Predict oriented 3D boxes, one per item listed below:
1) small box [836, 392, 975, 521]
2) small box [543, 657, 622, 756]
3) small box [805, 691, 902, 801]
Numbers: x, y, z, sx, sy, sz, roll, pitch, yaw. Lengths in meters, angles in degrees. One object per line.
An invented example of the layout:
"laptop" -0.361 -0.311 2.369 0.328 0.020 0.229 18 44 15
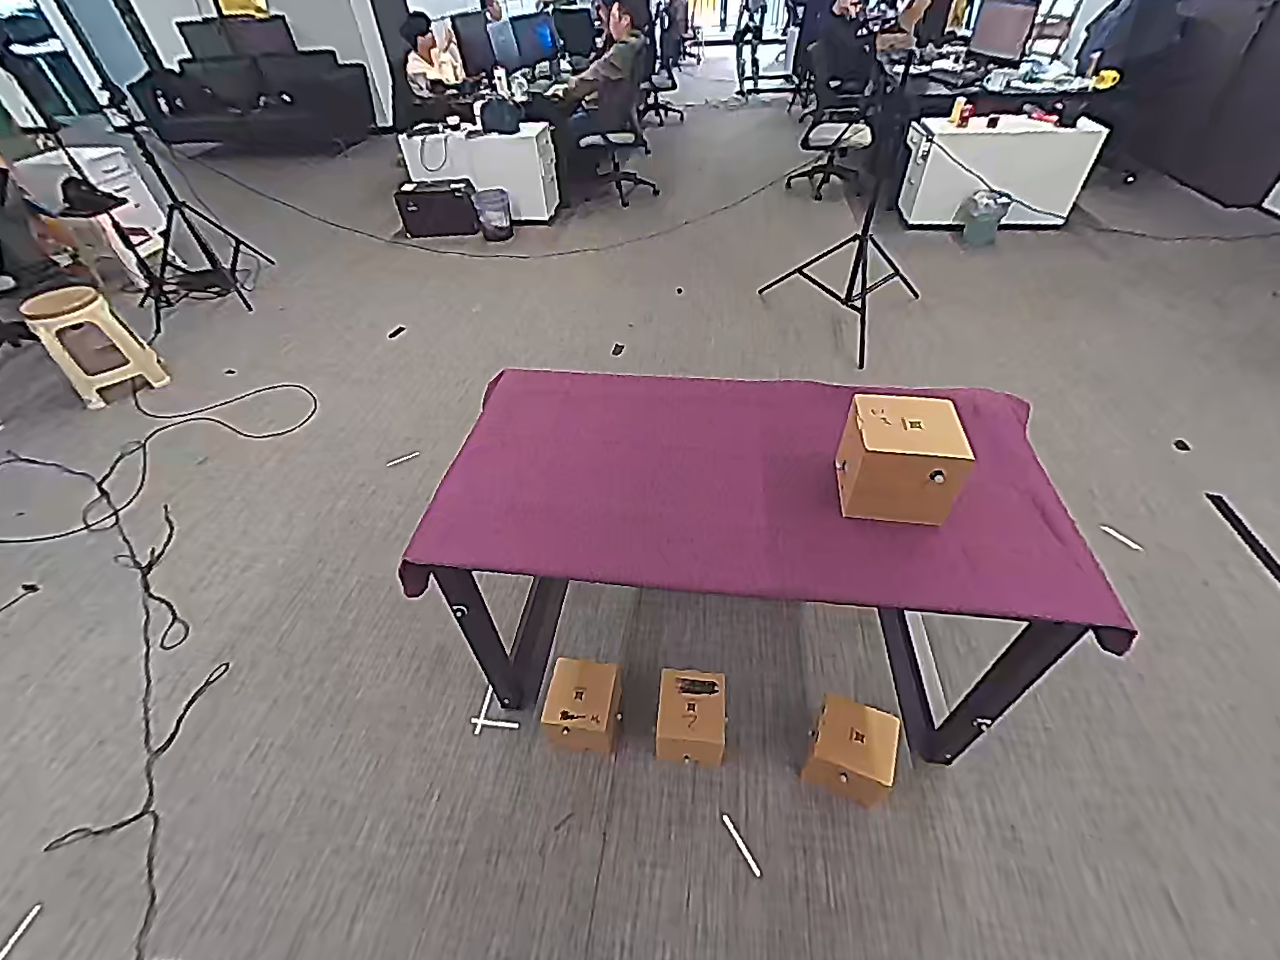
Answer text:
"small box" 0.476 -0.042 1.000 0.179 0.176 0.168 5 44 9
"small box" -0.144 0.598 1.429 0.168 0.176 0.179 5 44 8
"small box" 0.520 0.658 1.329 0.179 0.176 0.168 15 48 20
